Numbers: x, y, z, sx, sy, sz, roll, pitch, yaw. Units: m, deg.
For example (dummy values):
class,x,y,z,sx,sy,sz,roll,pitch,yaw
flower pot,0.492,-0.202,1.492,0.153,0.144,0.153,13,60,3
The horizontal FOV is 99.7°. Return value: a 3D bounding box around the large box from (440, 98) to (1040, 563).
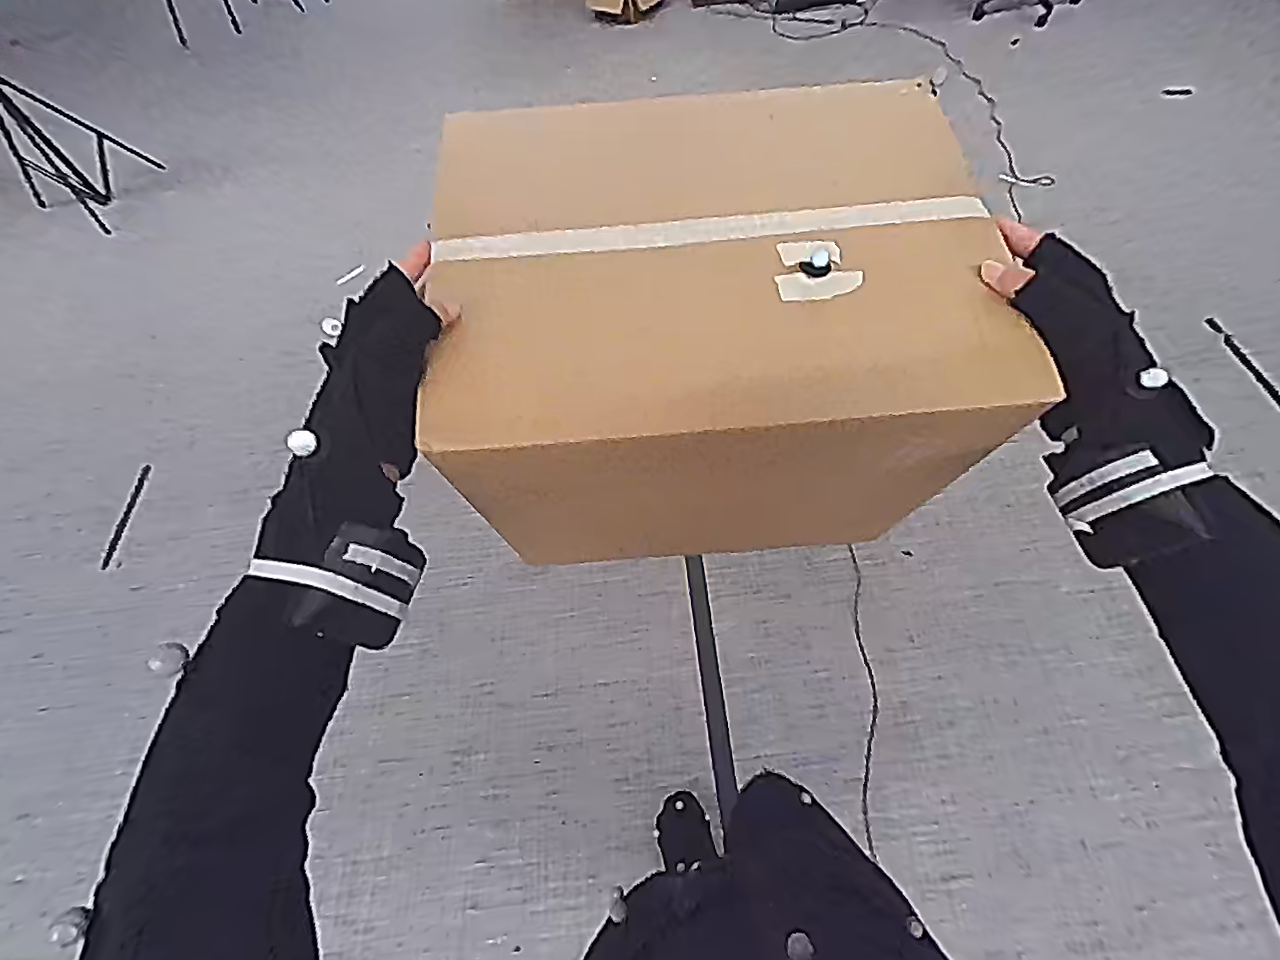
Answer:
class,x,y,z,sx,sy,sz,roll,pitch,yaw
large box,0.055,-0.117,0.544,0.408,0.320,0.320,-5,68,-1
